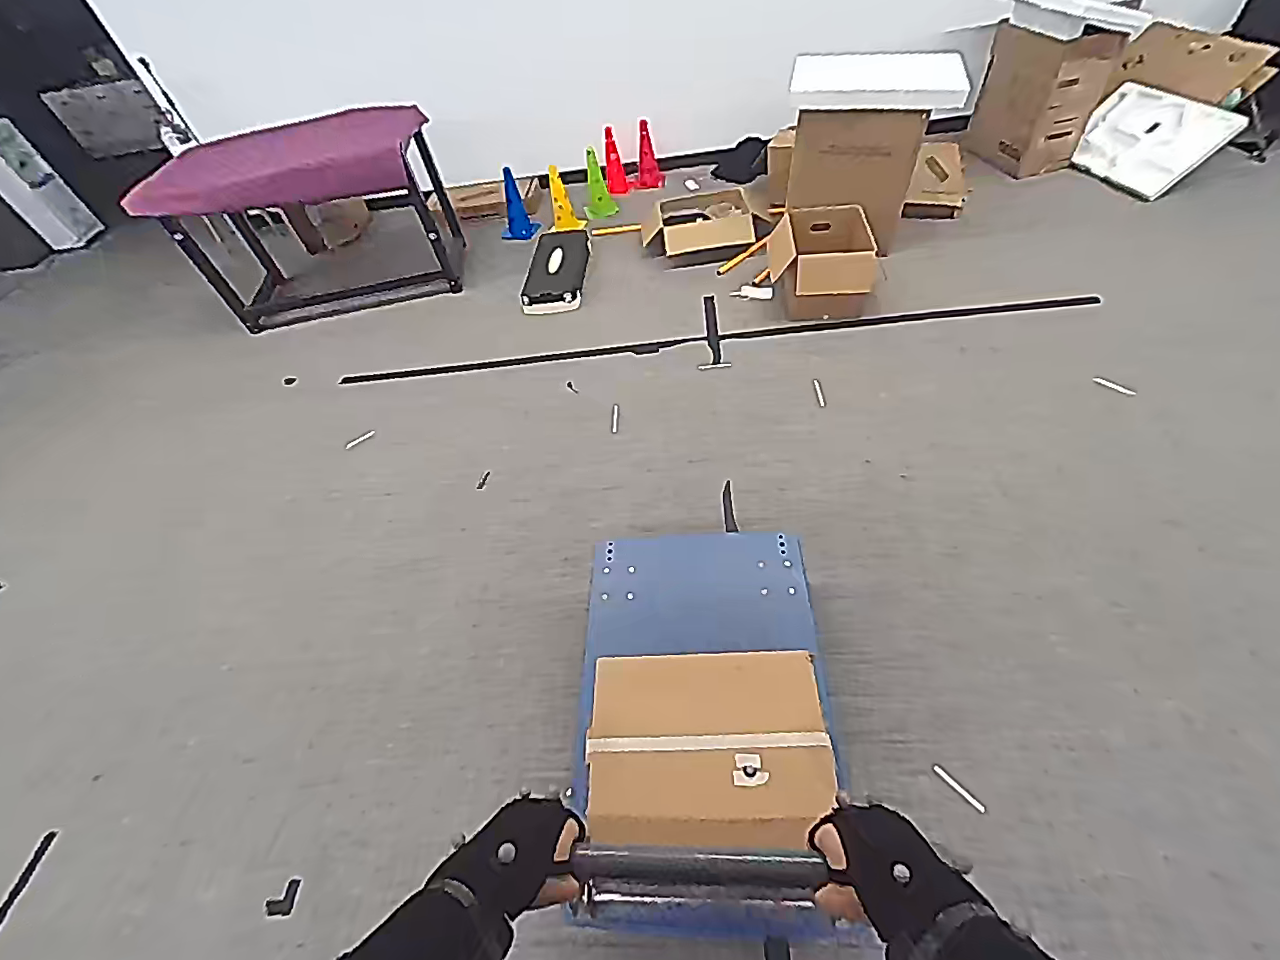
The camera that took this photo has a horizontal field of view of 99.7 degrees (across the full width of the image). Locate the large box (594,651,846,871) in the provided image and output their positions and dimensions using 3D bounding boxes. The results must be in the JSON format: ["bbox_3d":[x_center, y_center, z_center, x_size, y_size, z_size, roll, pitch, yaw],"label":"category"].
[{"bbox_3d":[0.134,0.552,1.050,0.408,0.320,0.320,-4,51,4],"label":"large box"}]
